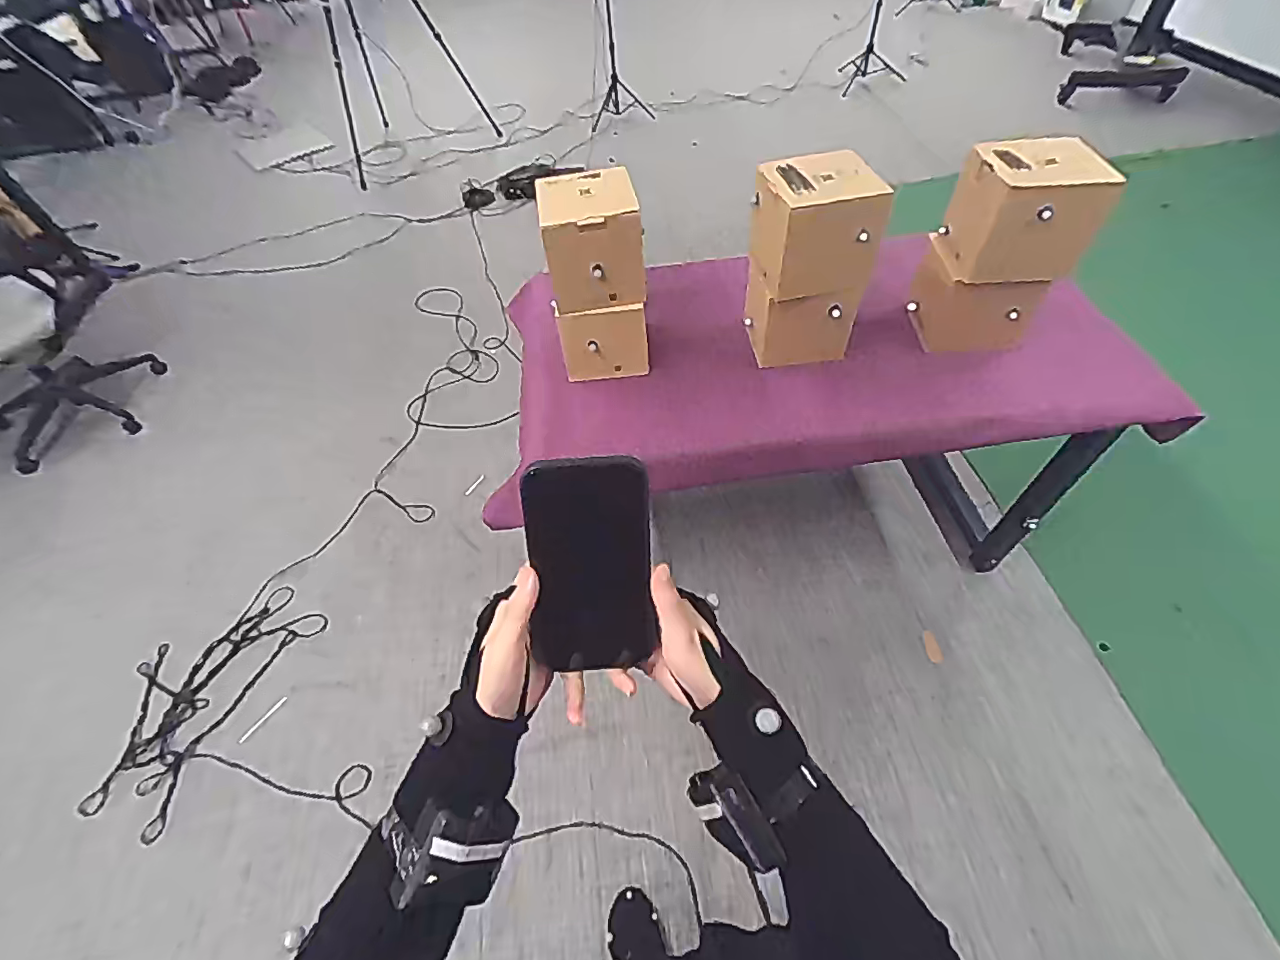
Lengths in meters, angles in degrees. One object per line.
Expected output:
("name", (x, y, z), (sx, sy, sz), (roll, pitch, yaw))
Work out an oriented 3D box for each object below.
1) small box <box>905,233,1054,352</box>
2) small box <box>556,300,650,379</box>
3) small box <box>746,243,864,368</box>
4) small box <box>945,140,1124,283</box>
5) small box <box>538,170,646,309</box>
("small box", (0.658, -0.370, 1.073), (0.179, 0.176, 0.168), (-1, 52, 5))
("small box", (-0.071, -0.321, 1.104), (0.168, 0.176, 0.179), (-6, 52, 1))
("small box", (0.319, -0.346, 1.085), (0.179, 0.176, 0.168), (-6, 52, 1))
("small box", (0.656, -0.458, 0.934), (0.179, 0.176, 0.168), (-1, 52, 4))
("small box", (-0.084, -0.427, 0.979), (0.168, 0.176, 0.179), (-9, 53, -3))
